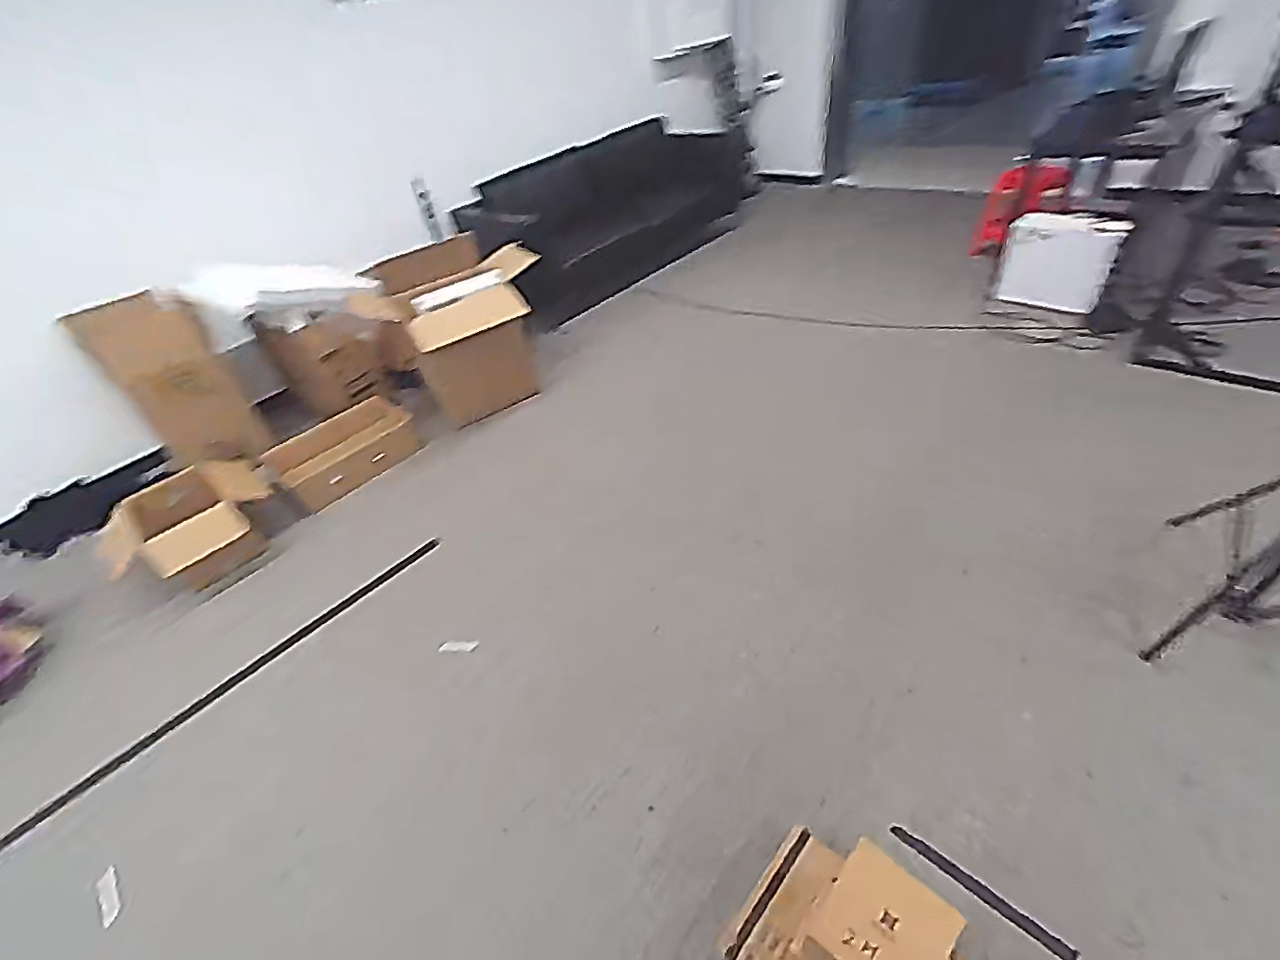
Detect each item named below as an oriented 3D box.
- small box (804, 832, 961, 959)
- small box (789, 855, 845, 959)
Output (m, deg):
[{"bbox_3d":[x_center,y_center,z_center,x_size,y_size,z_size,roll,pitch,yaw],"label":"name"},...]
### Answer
[{"bbox_3d":[0.382,0.729,0.878,0.168,0.176,0.179,29,54,36],"label":"small box"},{"bbox_3d":[0.386,0.849,0.994,0.168,0.176,0.179,27,54,35],"label":"small box"}]
